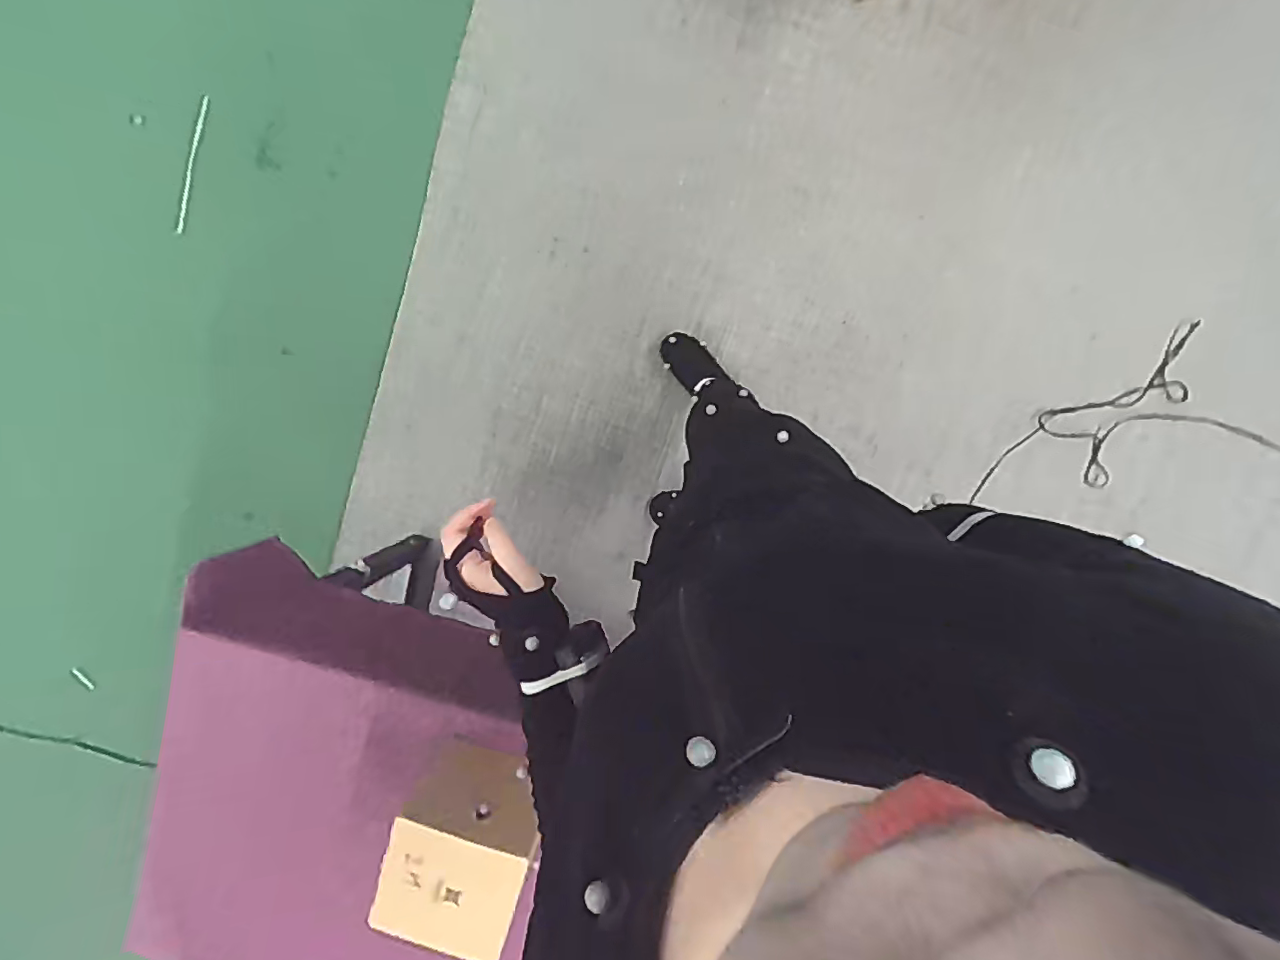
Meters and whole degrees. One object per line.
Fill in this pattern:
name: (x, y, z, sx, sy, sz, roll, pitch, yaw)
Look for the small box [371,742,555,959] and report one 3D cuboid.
small box: (-0.232, 0.502, 0.753, 0.179, 0.176, 0.168, 18, 98, 2)
